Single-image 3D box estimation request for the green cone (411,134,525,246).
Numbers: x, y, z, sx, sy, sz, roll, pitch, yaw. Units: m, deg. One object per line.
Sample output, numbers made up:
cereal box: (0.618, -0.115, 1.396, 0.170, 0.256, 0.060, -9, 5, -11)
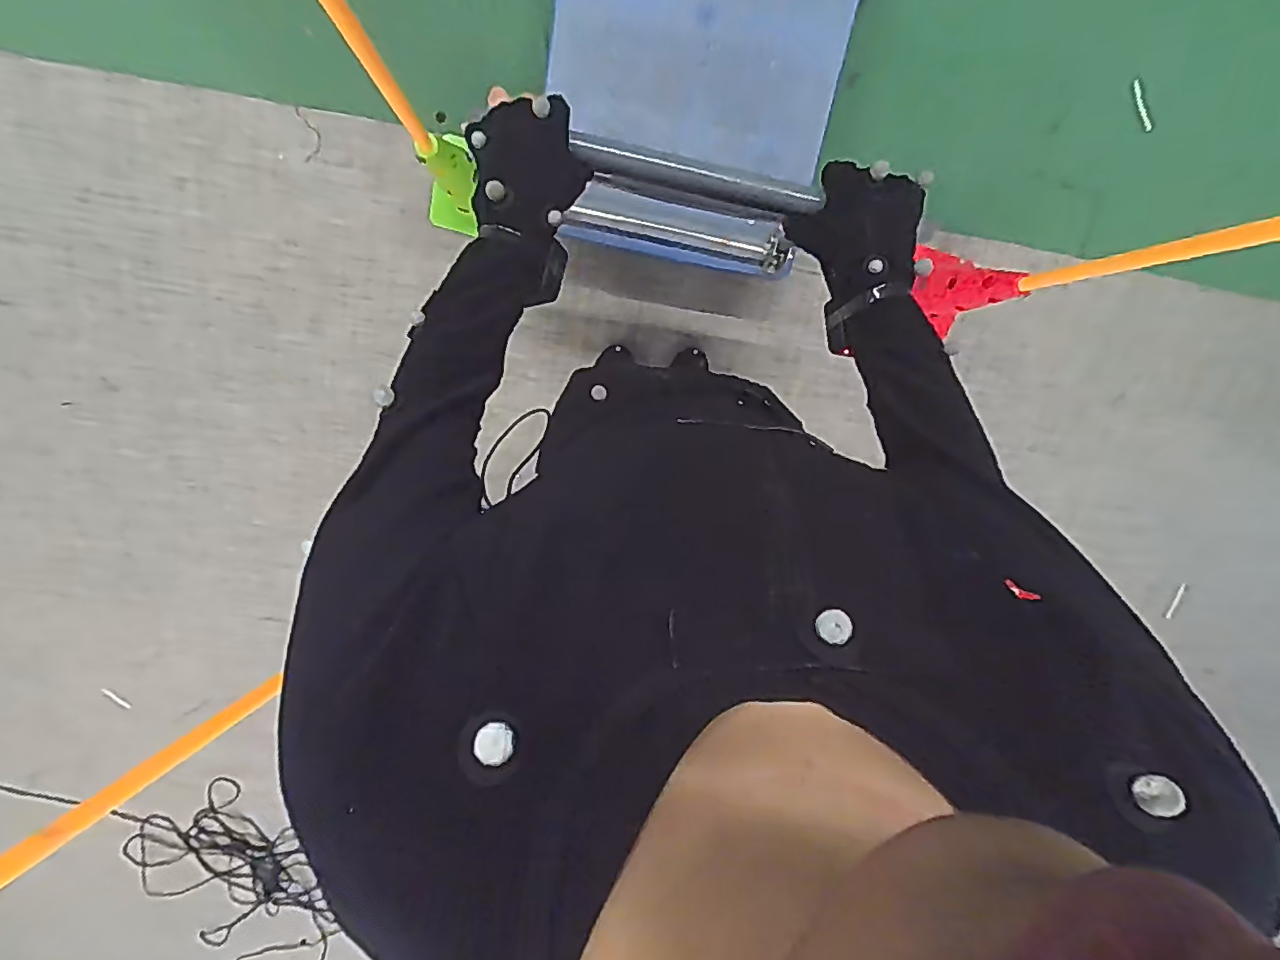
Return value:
green cone: (-0.381, -0.635, 1.120, 0.202, 0.368, 0.200, 14, 104, -5)
